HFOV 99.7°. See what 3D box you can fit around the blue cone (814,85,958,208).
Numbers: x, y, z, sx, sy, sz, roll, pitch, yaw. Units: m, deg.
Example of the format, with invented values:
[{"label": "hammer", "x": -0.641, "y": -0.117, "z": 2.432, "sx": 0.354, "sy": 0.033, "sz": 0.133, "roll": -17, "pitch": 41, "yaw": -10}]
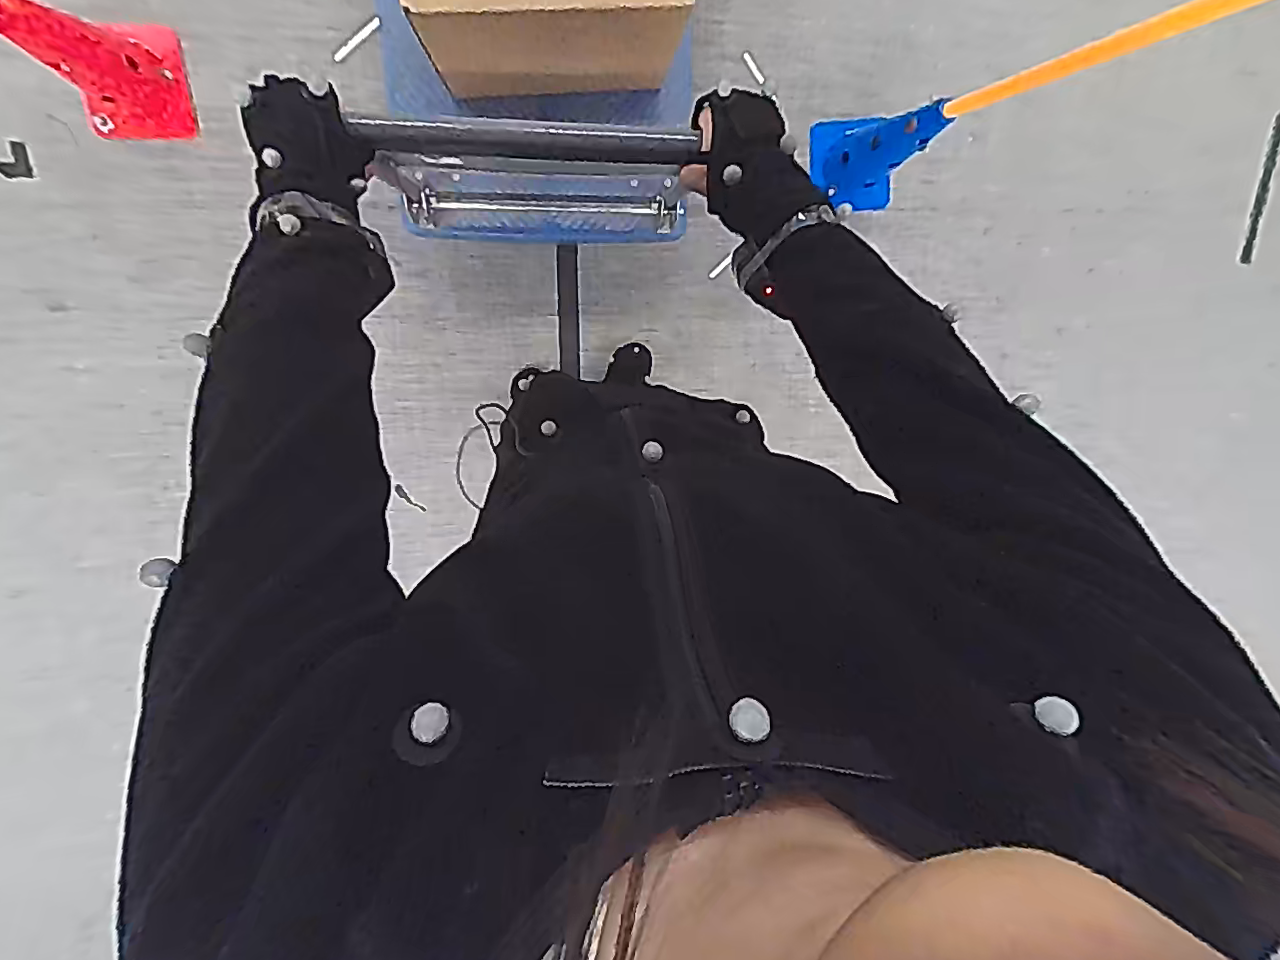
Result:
[{"label": "blue cone", "x": 0.531, "y": -0.720, "z": 1.143, "sx": 0.193, "sy": 0.380, "sz": 0.192, "roll": -6, "pitch": 105, "yaw": -5}]
